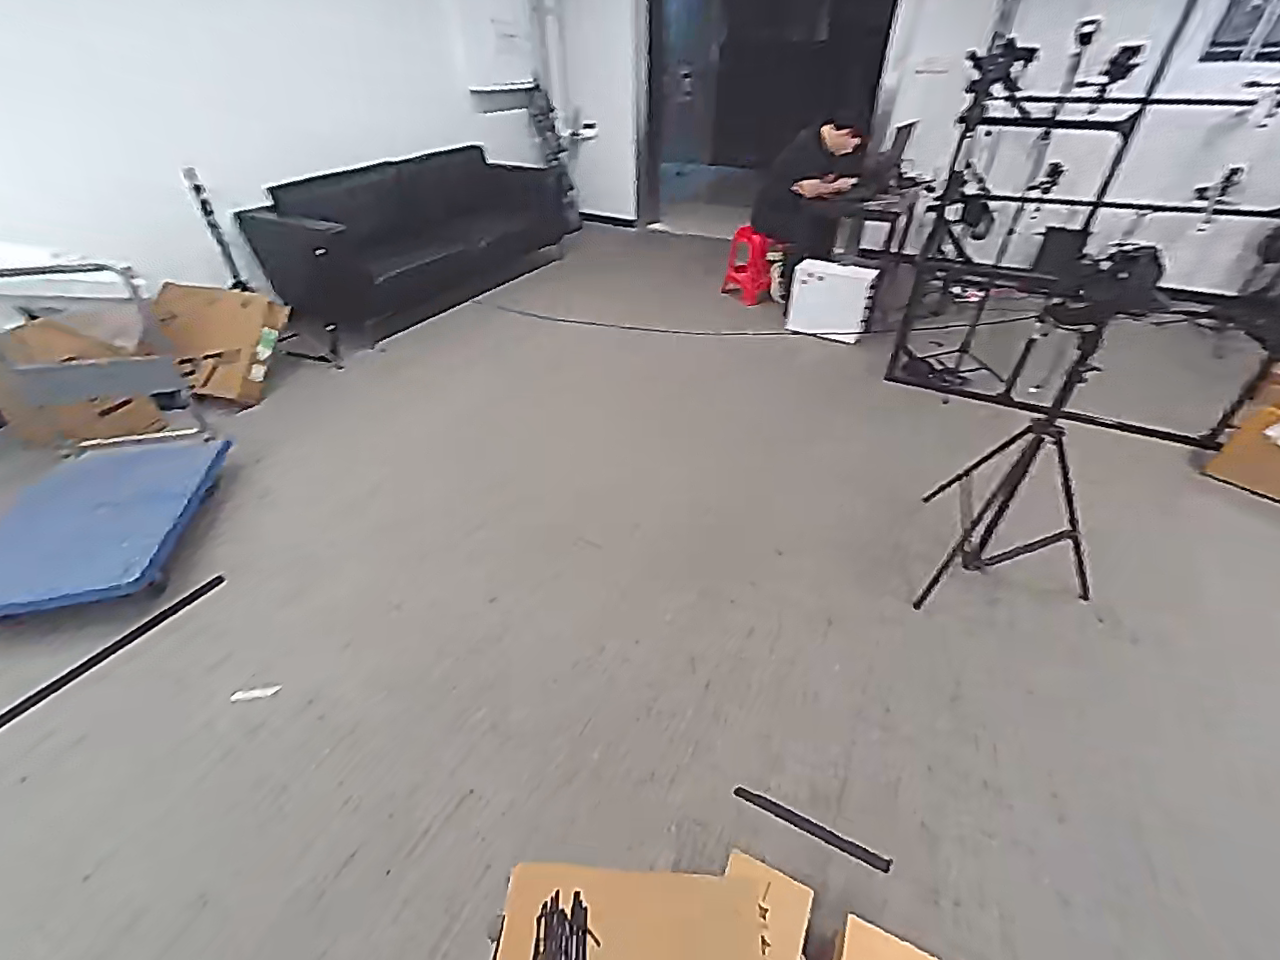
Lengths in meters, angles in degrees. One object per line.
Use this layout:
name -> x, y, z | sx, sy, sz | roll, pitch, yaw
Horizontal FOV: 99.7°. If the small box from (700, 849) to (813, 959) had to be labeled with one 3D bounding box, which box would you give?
small box -> 0.223, 0.881, 1.055 | 0.168, 0.176, 0.179 | 17, 40, 21
